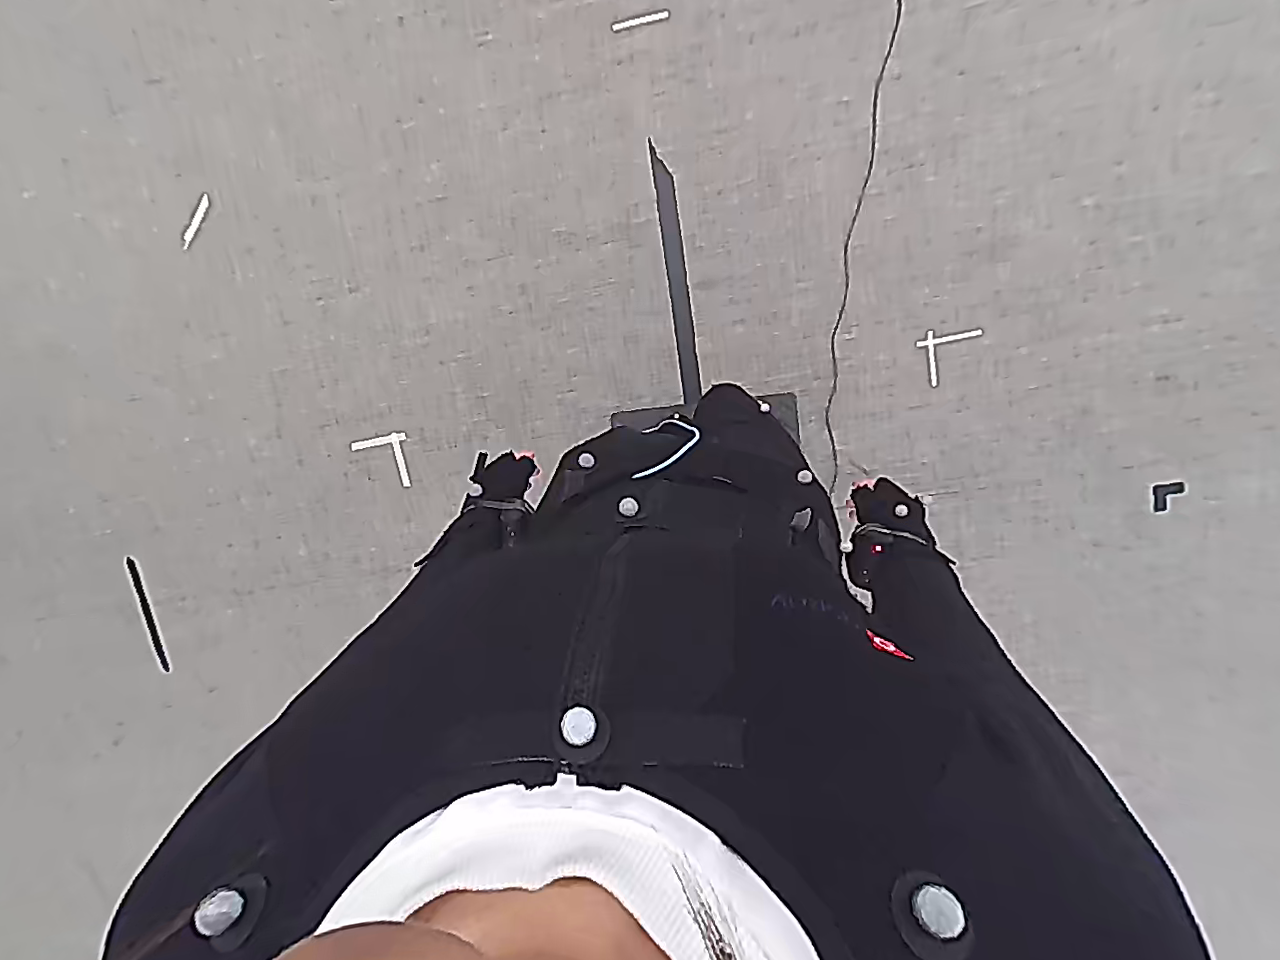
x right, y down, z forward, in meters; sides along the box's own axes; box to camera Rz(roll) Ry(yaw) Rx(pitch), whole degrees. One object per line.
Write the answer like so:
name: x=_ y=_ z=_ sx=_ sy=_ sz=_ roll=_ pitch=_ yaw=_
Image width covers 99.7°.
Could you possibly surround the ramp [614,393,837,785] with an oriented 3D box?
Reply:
ramp: x=0.211 y=0.291 z=1.424 sx=0.509 sy=0.206 sz=0.991 roll=-7 pitch=98 yaw=9
